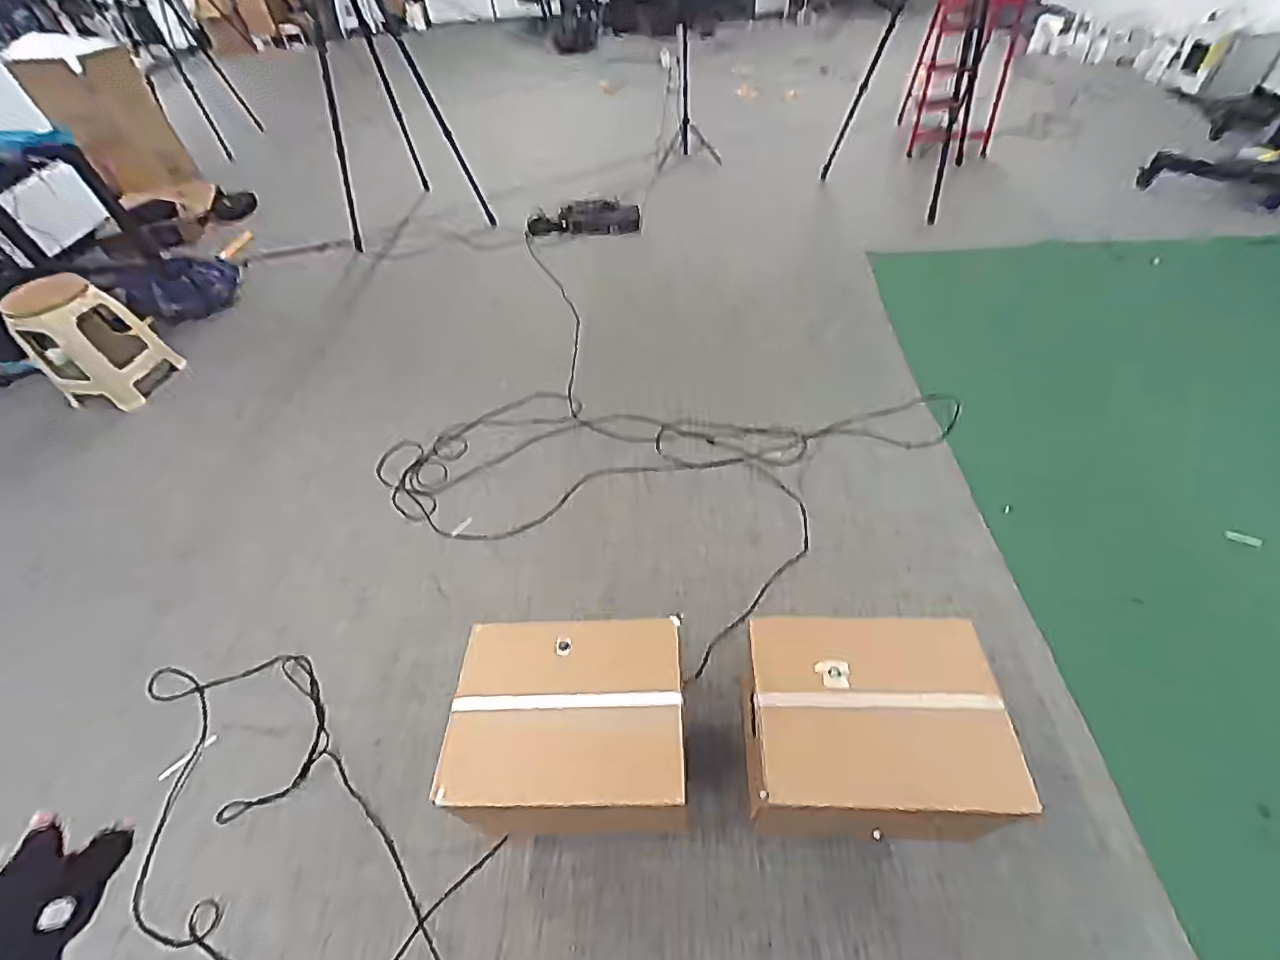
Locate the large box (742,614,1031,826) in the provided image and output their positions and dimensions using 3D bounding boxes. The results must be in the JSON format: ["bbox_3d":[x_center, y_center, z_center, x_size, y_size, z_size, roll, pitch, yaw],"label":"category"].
[{"bbox_3d":[0.417,0.467,1.042,0.408,0.320,0.320,-1,50,5],"label":"large box"}]
